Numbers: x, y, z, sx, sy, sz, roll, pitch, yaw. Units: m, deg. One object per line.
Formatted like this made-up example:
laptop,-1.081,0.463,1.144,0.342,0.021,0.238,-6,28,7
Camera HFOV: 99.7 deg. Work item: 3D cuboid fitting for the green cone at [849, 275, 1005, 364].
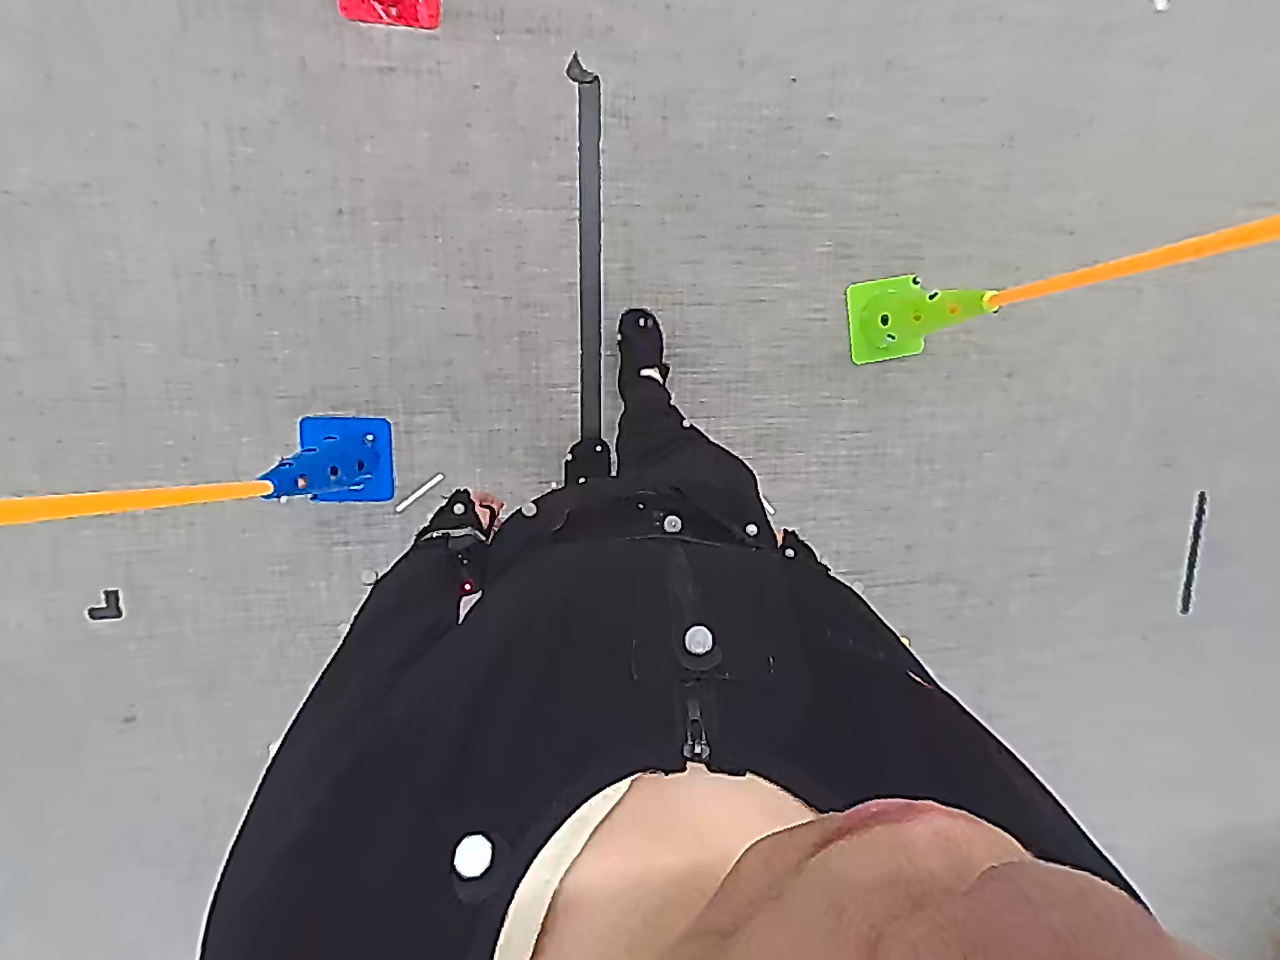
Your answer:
green cone,0.652,-0.373,1.207,0.200,0.368,0.202,-12,103,-6

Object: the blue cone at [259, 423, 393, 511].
blue cone,-0.658,-0.007,1.100,0.193,0.380,0.192,2,100,-8
